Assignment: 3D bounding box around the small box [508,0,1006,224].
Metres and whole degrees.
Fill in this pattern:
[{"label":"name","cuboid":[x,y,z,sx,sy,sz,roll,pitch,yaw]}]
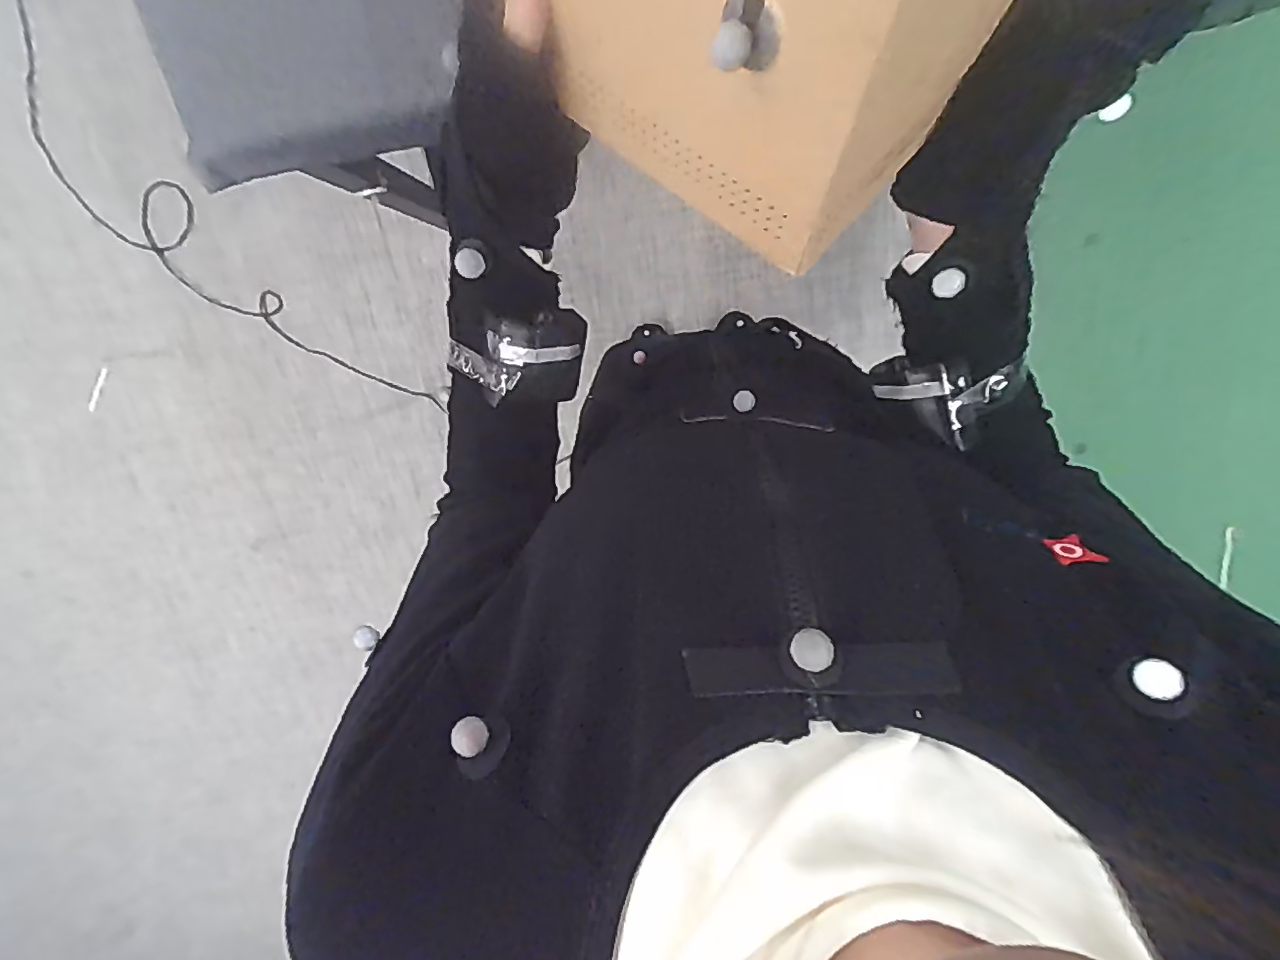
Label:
[{"label":"small box","cuboid":[0.054,-0.233,0.199,0.179,0.176,0.168,40,80,11]}]
